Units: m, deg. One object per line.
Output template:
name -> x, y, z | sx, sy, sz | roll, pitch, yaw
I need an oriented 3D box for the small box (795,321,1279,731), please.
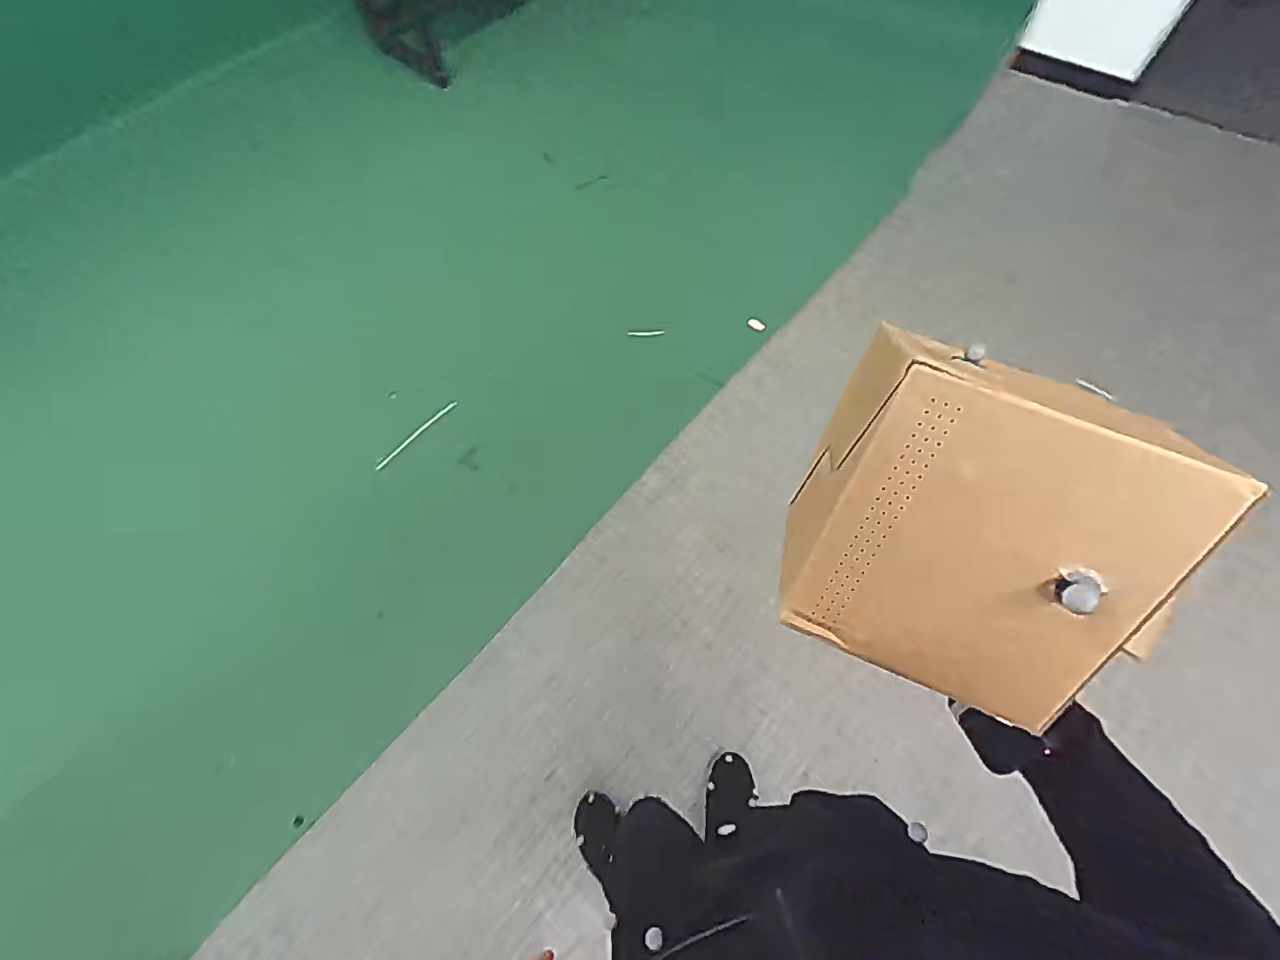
small box -> 0.211, 0.015, 0.357 | 0.176, 0.179, 0.168 | 23, 27, 8
